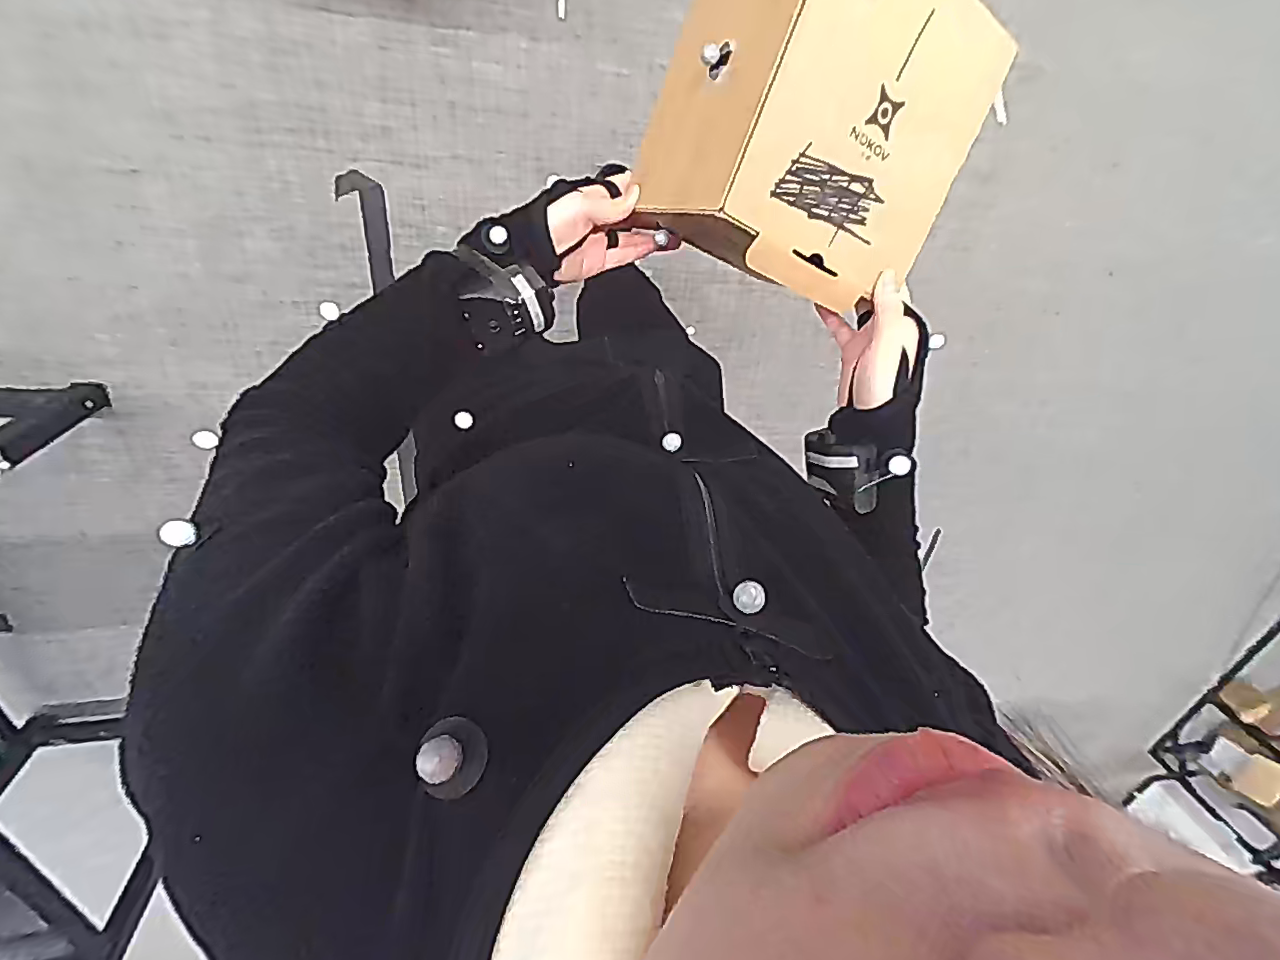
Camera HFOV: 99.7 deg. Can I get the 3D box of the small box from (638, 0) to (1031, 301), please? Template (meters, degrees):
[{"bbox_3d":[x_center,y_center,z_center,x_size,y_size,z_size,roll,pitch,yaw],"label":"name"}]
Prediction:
[{"bbox_3d":[0.116,-0.253,0.391,0.168,0.176,0.179,12,108,-30],"label":"small box"}]
